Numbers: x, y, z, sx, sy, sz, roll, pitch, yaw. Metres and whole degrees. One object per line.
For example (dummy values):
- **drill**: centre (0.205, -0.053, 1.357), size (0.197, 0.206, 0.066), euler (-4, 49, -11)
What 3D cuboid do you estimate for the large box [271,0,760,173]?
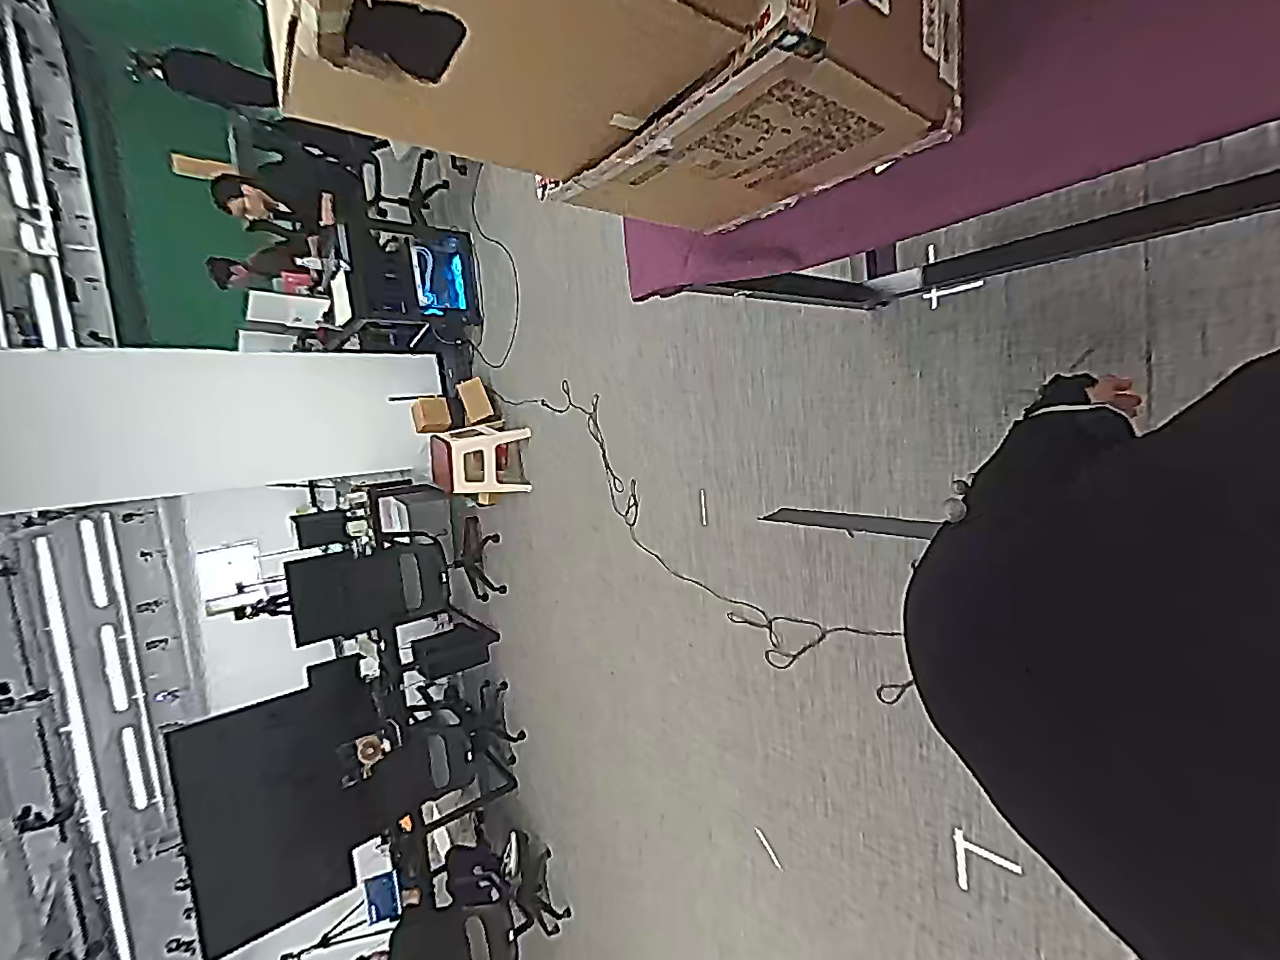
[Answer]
- **large box**: centre (-0.129, -0.547, 0.442), size (0.320, 0.320, 0.408), euler (3, 100, 54)
